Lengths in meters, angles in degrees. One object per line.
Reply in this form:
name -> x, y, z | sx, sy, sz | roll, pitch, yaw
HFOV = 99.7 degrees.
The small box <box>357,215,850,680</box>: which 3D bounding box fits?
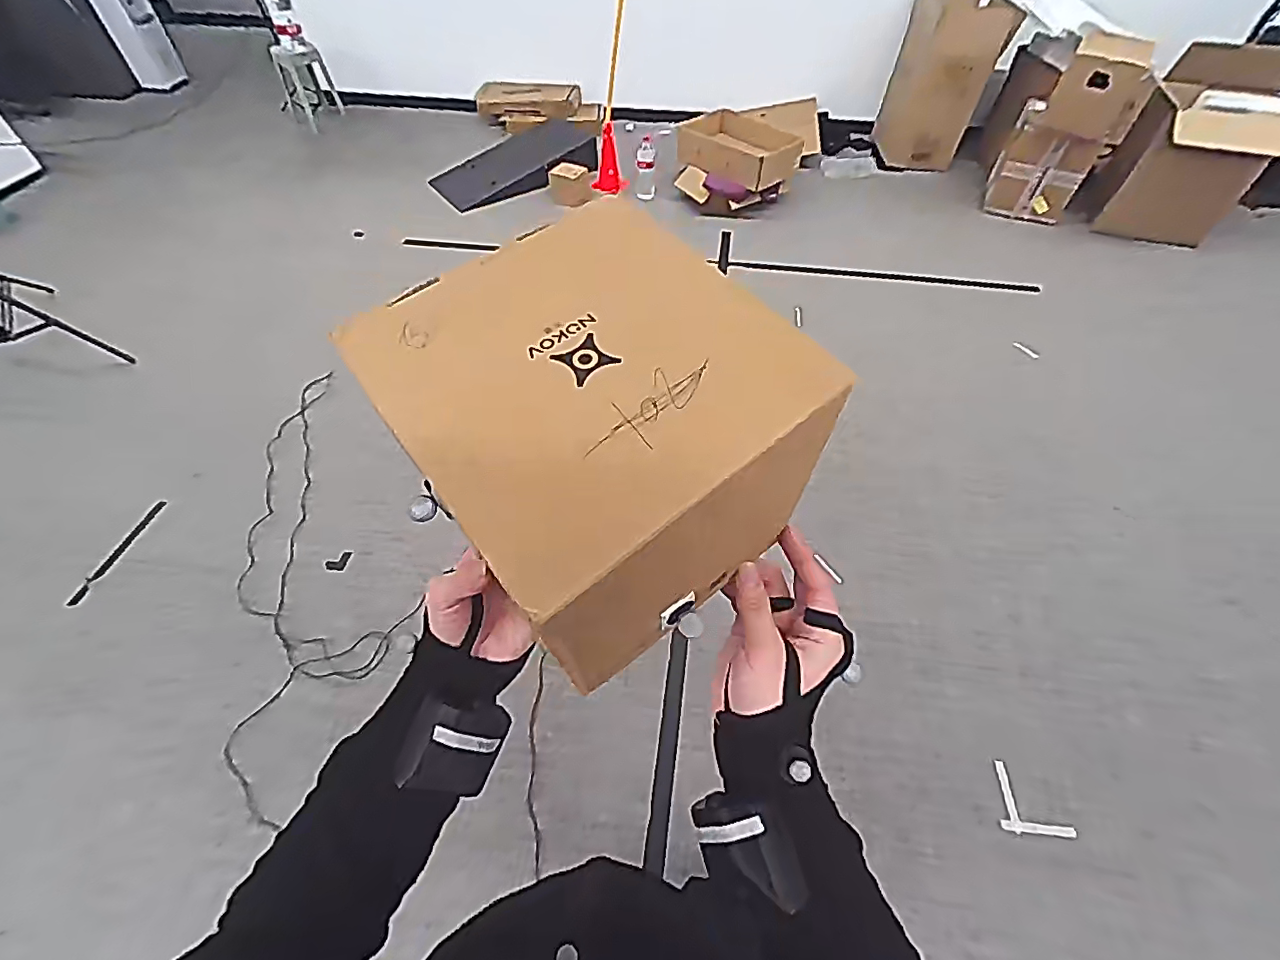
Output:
small box -> -0.020, -0.011, 0.319 | 0.168, 0.176, 0.179 | -37, 66, -17
